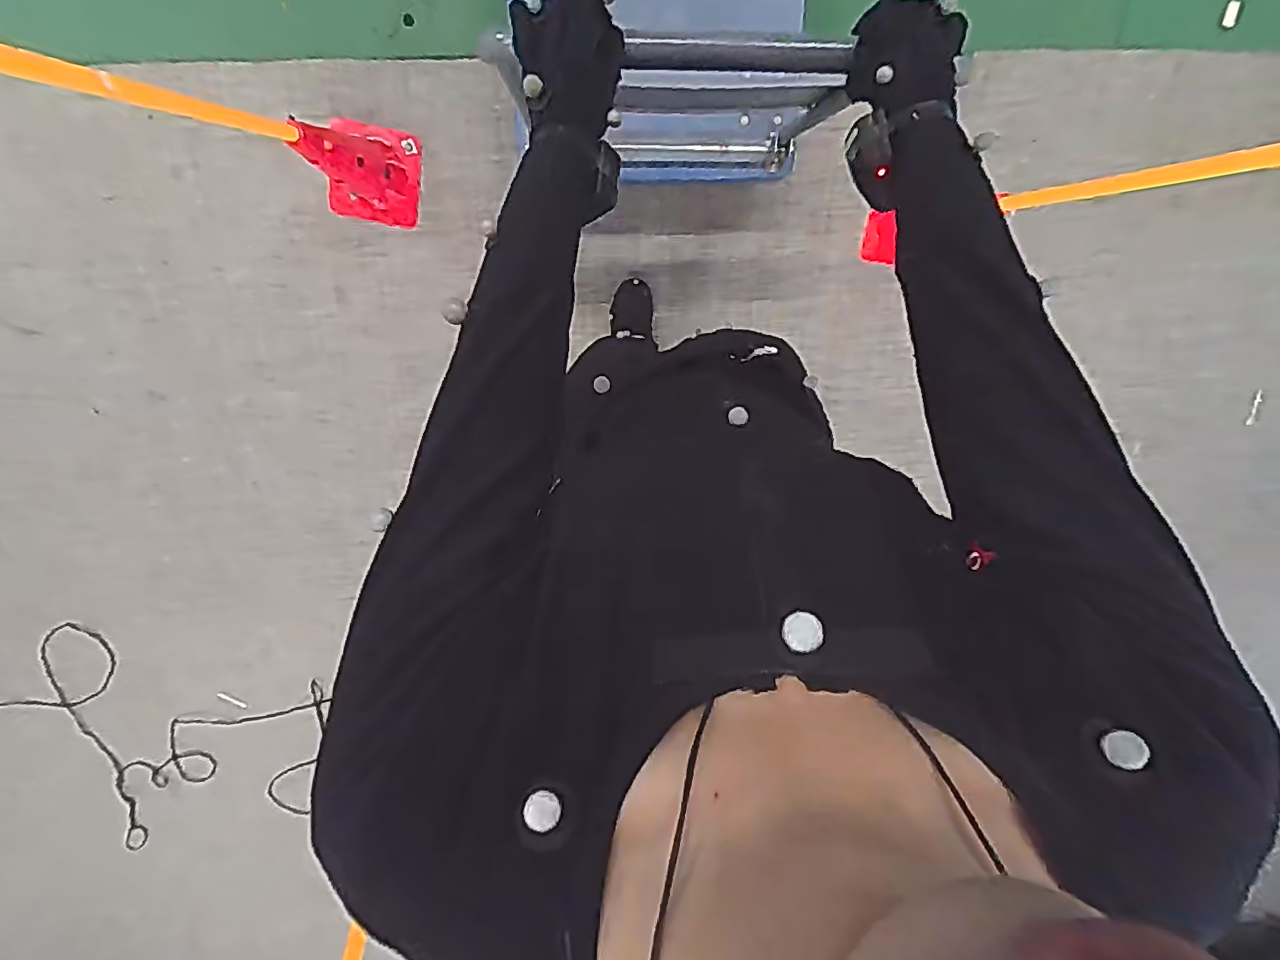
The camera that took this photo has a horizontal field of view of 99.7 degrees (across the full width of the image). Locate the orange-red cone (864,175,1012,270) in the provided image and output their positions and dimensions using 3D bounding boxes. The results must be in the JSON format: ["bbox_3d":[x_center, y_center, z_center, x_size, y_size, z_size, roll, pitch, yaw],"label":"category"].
[{"bbox_3d":[0.682,-0.582,1.191,0.198,0.360,0.199,8,110,-6],"label":"orange-red cone"}]
